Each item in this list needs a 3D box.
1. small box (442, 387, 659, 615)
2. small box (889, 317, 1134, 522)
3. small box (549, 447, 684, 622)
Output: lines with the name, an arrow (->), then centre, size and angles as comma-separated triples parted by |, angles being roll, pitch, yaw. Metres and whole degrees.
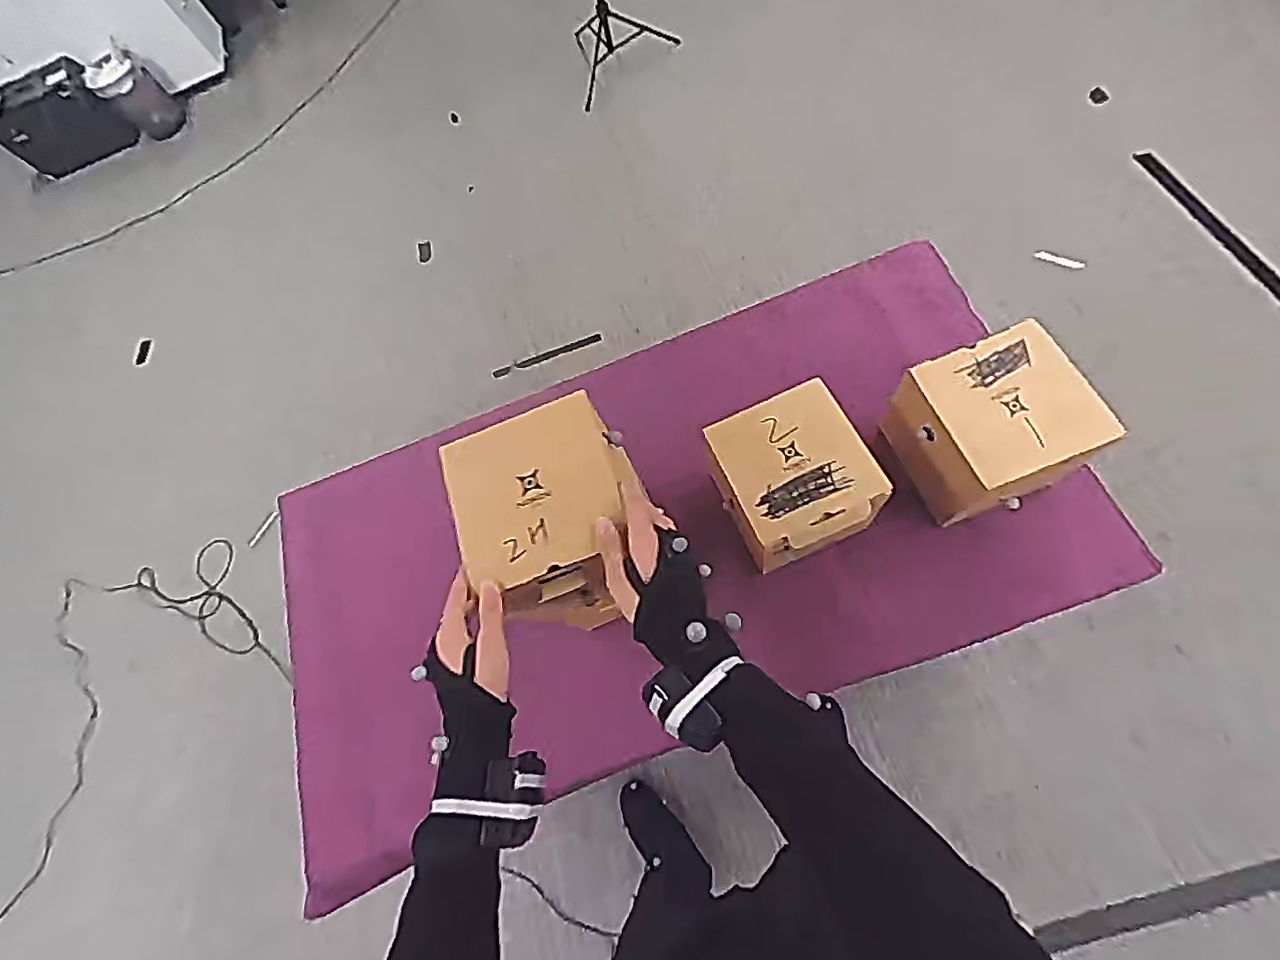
small box -> -0.090, 0.034, 0.597 | 0.168, 0.176, 0.179 | -22, 68, 3
small box -> 0.450, -0.068, 0.697 | 0.168, 0.176, 0.179 | -23, 68, 4
small box -> -0.049, 0.086, 0.748 | 0.168, 0.176, 0.179 | -23, 67, 2
